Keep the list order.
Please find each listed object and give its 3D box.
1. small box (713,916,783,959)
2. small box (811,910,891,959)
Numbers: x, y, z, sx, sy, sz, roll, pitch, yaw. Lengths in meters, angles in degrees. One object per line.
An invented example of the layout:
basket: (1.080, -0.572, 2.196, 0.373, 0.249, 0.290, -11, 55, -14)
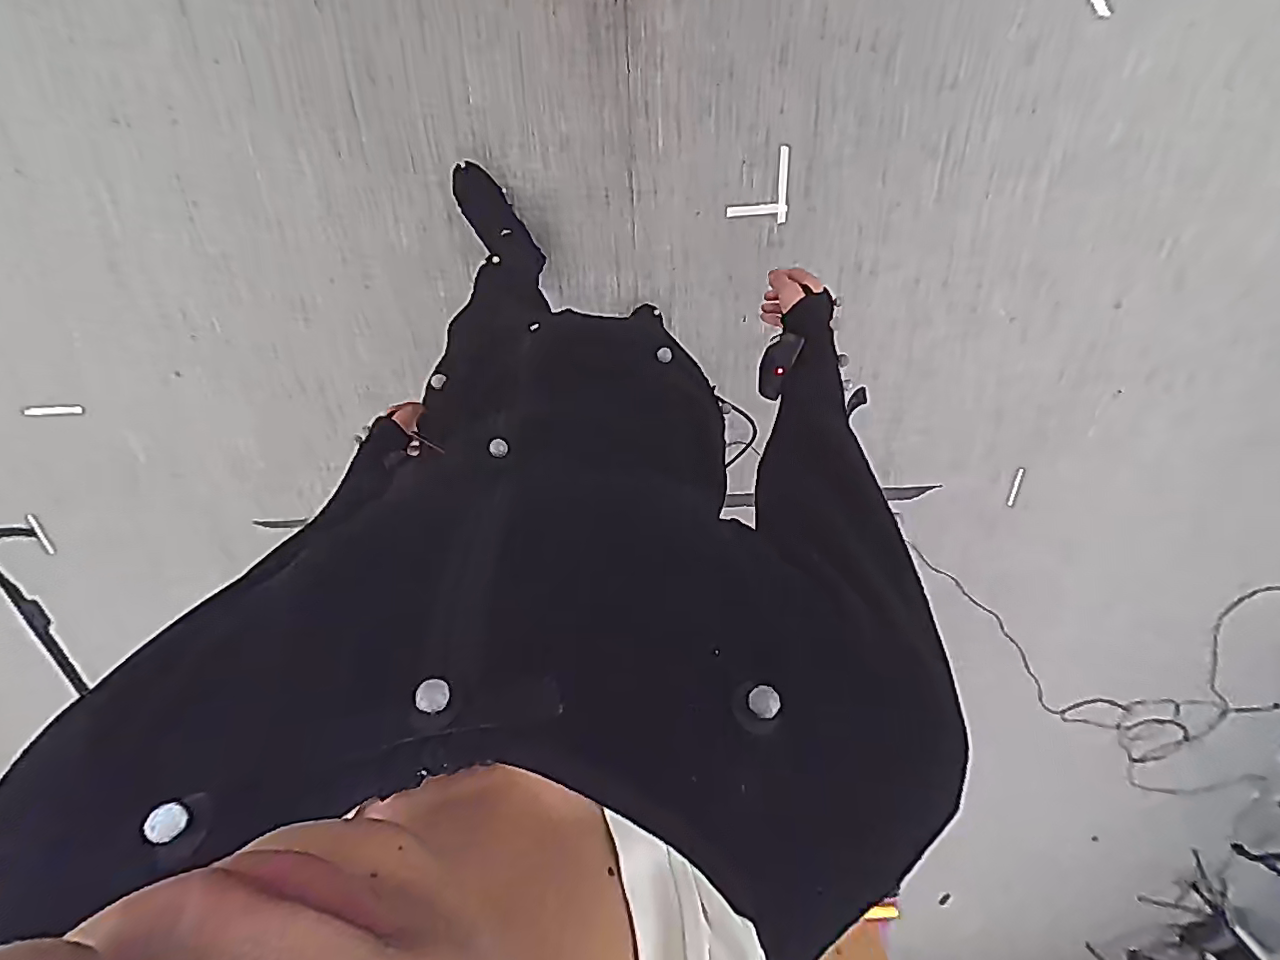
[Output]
small box: (0.305, 1.374, 1.526, 0.179, 0.176, 0.168, -3, 117, -2)
small box: (0.600, 1.365, 1.541, 0.179, 0.176, 0.168, -2, 117, -1)
